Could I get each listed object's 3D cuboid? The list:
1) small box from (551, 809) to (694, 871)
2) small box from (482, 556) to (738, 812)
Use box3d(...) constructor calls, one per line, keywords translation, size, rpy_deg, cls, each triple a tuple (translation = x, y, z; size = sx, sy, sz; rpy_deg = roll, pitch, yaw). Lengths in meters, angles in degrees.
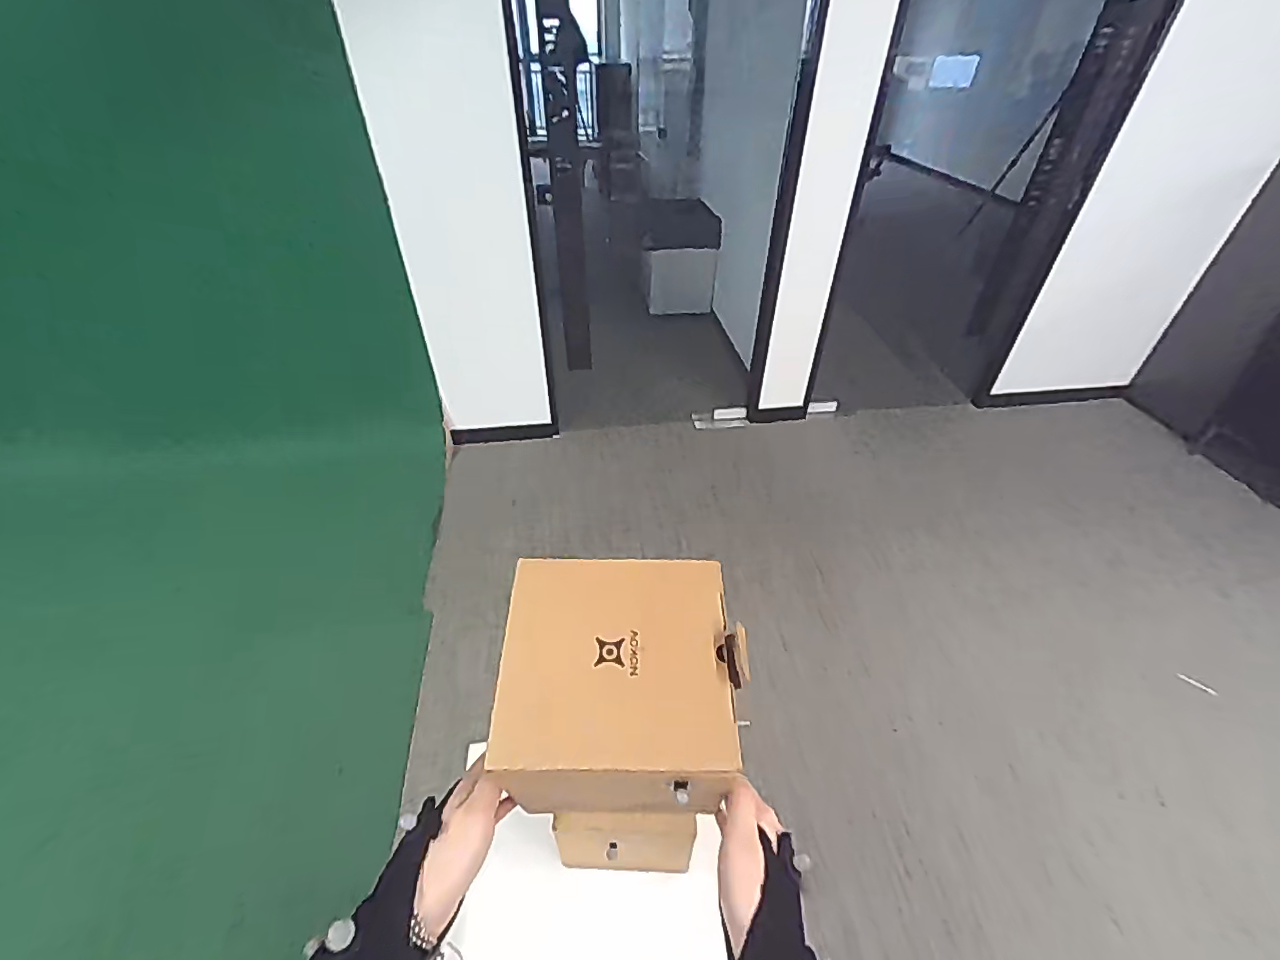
box3d(translation=(-0.017, 0.425, 0.756), size=(0.179, 0.176, 0.168), rpy_deg=(1, 41, 1), cls="small box")
box3d(translation=(-0.020, 0.182, 0.473), size=(0.179, 0.176, 0.168), rpy_deg=(1, 50, -1), cls="small box")
